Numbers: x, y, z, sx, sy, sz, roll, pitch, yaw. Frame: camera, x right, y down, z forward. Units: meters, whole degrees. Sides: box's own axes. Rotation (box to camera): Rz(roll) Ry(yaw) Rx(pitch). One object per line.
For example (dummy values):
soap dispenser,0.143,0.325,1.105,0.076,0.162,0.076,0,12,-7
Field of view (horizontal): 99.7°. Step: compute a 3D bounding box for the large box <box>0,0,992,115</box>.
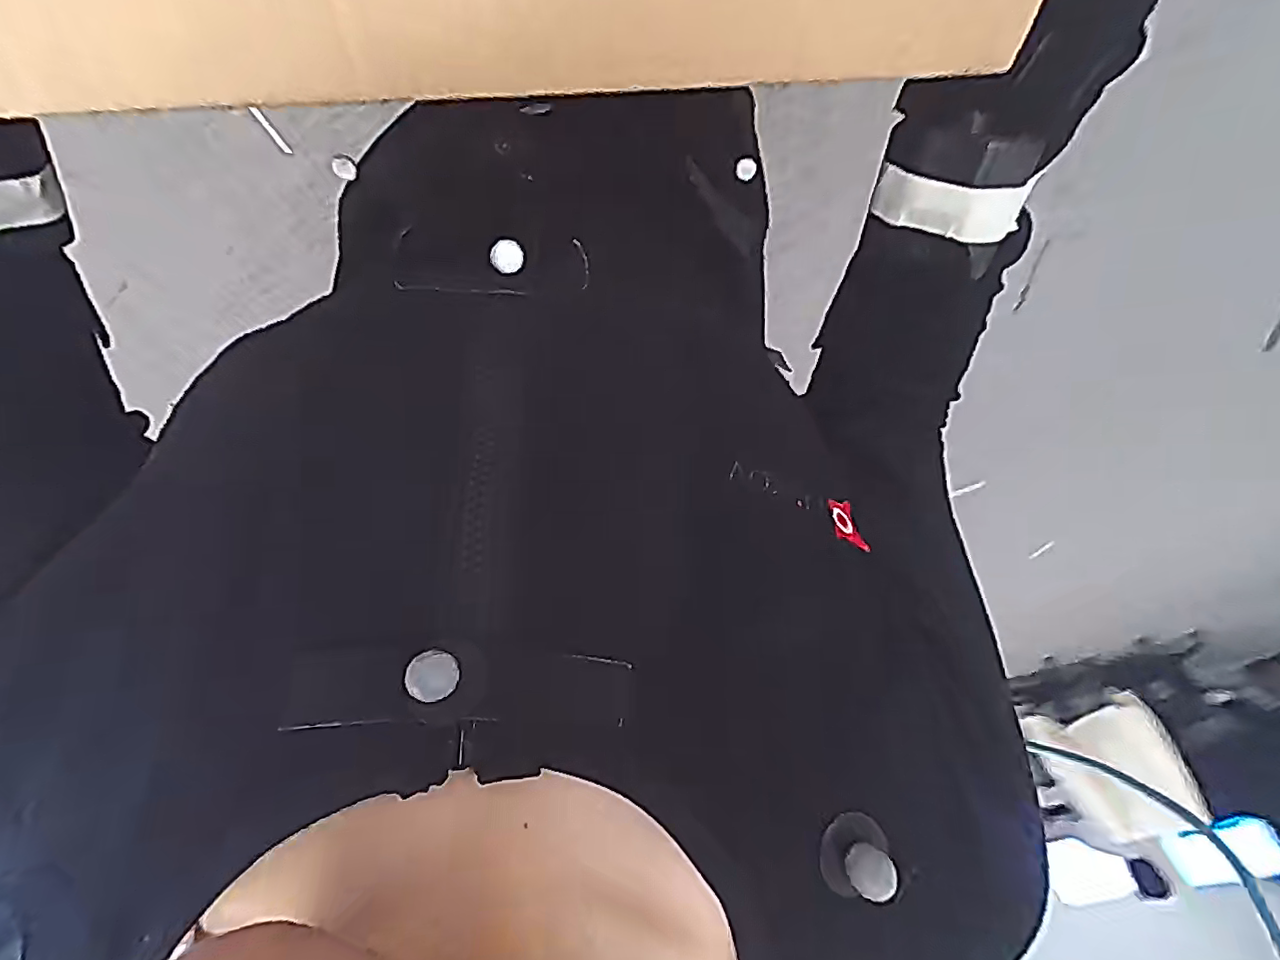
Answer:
large box,-0.084,-0.361,0.176,0.408,0.320,0.320,-6,140,-3
